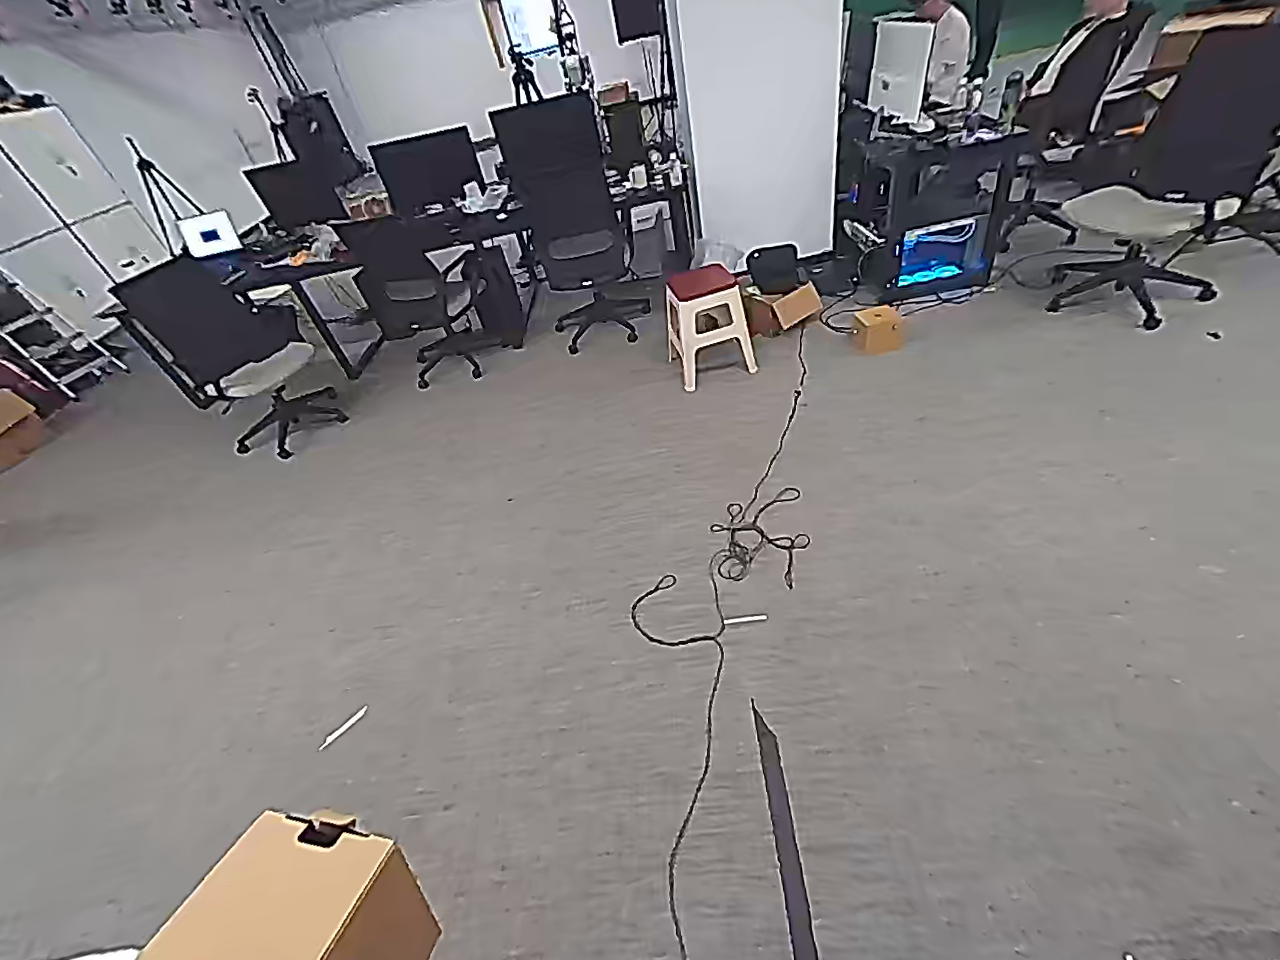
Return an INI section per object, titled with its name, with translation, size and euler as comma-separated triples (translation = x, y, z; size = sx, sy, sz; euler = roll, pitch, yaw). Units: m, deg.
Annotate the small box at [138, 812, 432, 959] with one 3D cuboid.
[small box]
translation = -0.323, 0.458, 0.503
size = 0.168, 0.176, 0.179
euler = 1, 26, 16
